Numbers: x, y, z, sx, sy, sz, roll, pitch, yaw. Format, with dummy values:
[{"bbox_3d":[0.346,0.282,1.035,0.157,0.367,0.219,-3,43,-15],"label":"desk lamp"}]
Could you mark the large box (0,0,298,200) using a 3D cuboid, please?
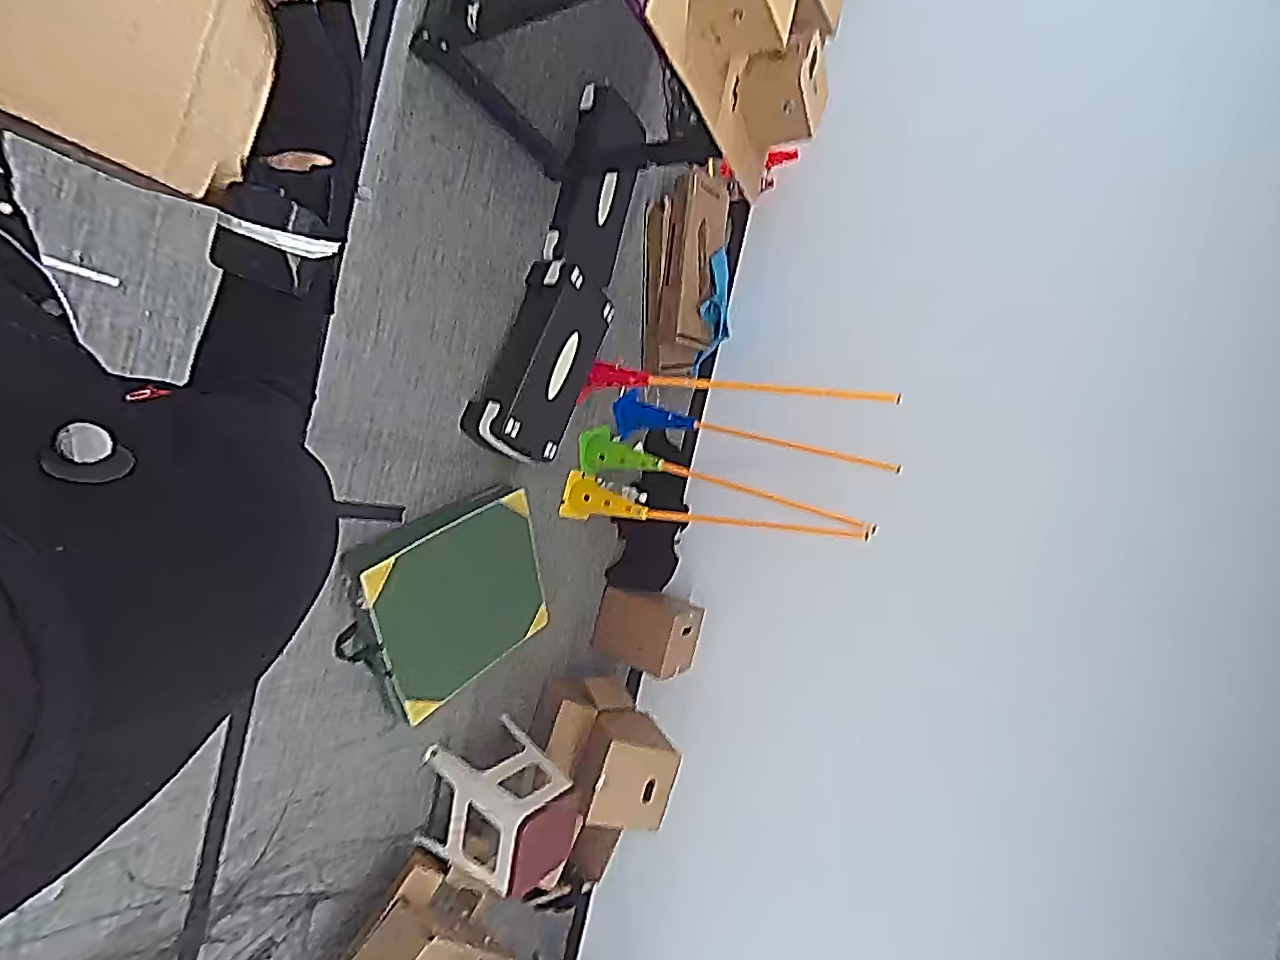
[{"bbox_3d":[-0.464,-0.423,0.309,0.408,0.320,0.320,14,101,-54],"label":"large box"}]
